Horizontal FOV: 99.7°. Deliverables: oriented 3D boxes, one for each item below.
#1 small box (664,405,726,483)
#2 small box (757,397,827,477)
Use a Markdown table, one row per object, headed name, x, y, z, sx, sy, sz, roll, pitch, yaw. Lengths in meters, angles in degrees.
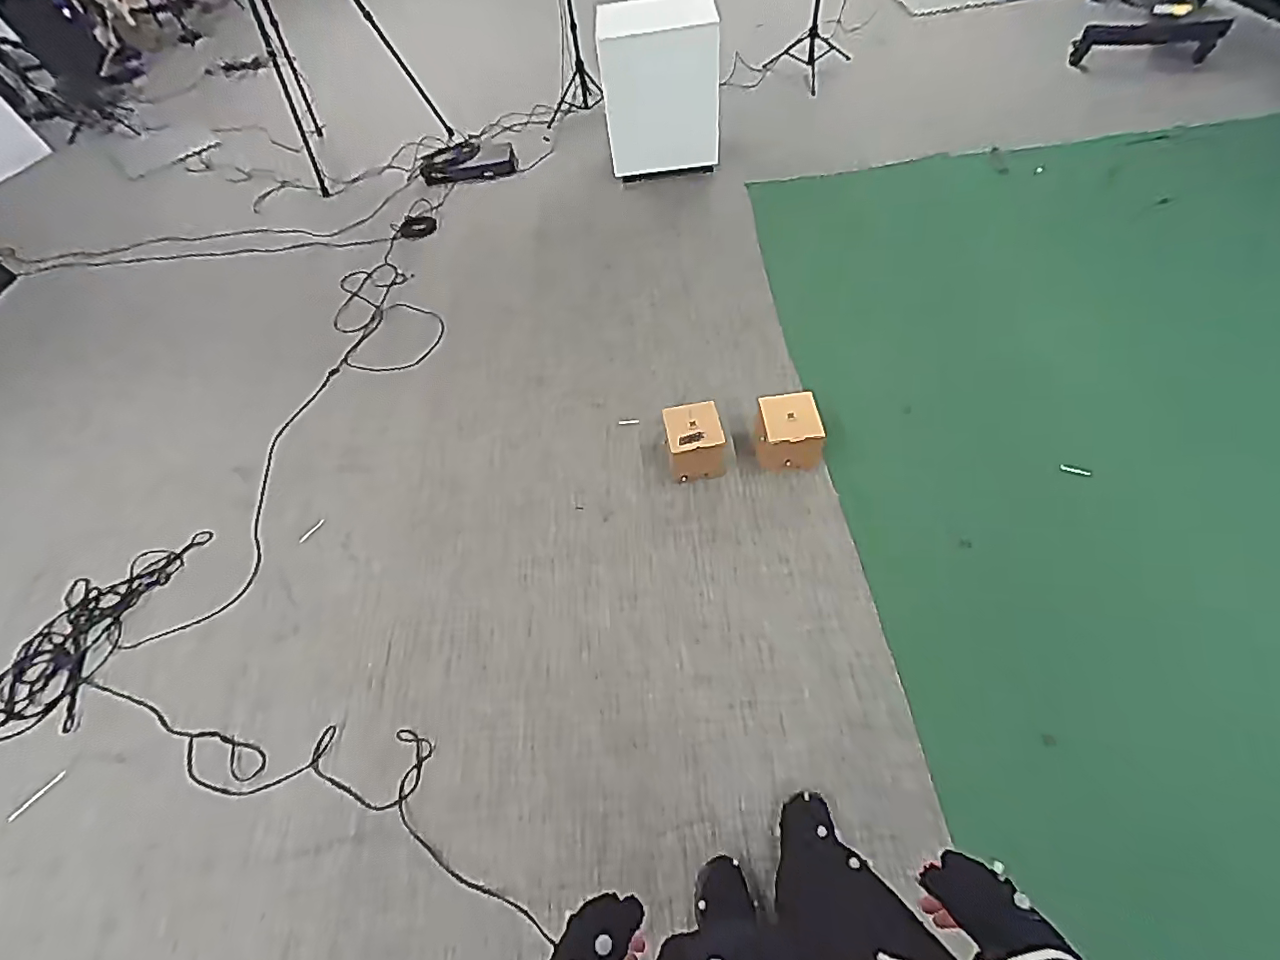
| name | x | y | z | sx | sy | sz | roll | pitch | yaw |
| --- | --- | --- | --- | --- | --- | --- | --- | --- | --- |
| small box | 0.173 | -0.105 | 1.699 | 0.168 | 0.176 | 0.179 | -10 | 55 | 0 |
| small box | 0.464 | -0.133 | 1.685 | 0.168 | 0.176 | 0.179 | -7 | 56 | 3 |
